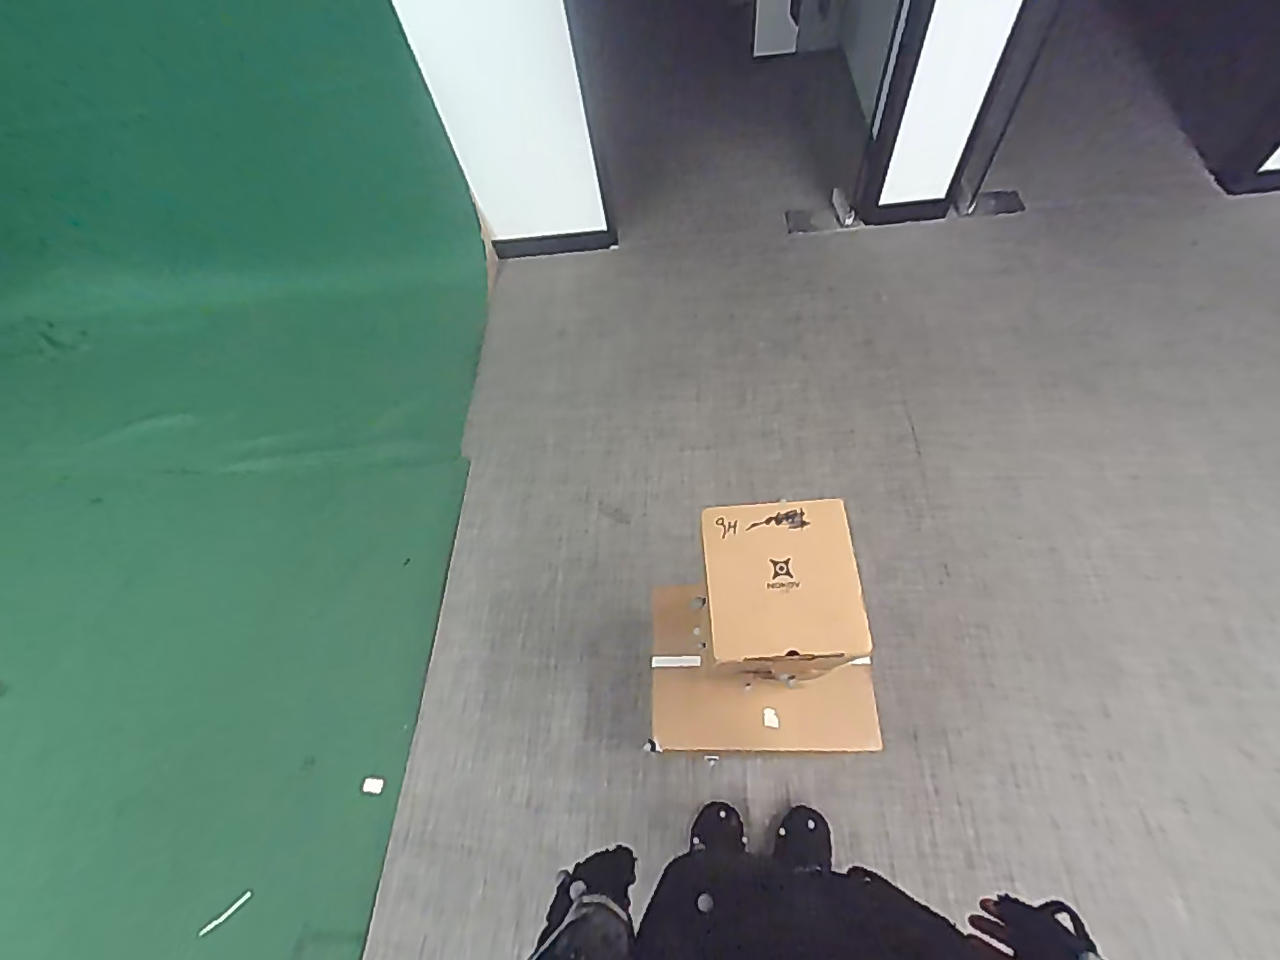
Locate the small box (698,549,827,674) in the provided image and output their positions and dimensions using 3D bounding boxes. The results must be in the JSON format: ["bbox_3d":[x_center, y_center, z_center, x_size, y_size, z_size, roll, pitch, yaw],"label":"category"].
[{"bbox_3d":[0.176,0.201,0.827,0.168,0.176,0.179,-3,66,5],"label":"small box"}]

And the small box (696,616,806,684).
[{"bbox_3d":[0.195,0.268,0.970,0.179,0.176,0.168,4,66,9],"label":"small box"}]

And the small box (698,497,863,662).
[{"bbox_3d":[0.161,0.134,0.678,0.168,0.176,0.179,-4,68,4],"label":"small box"}]
